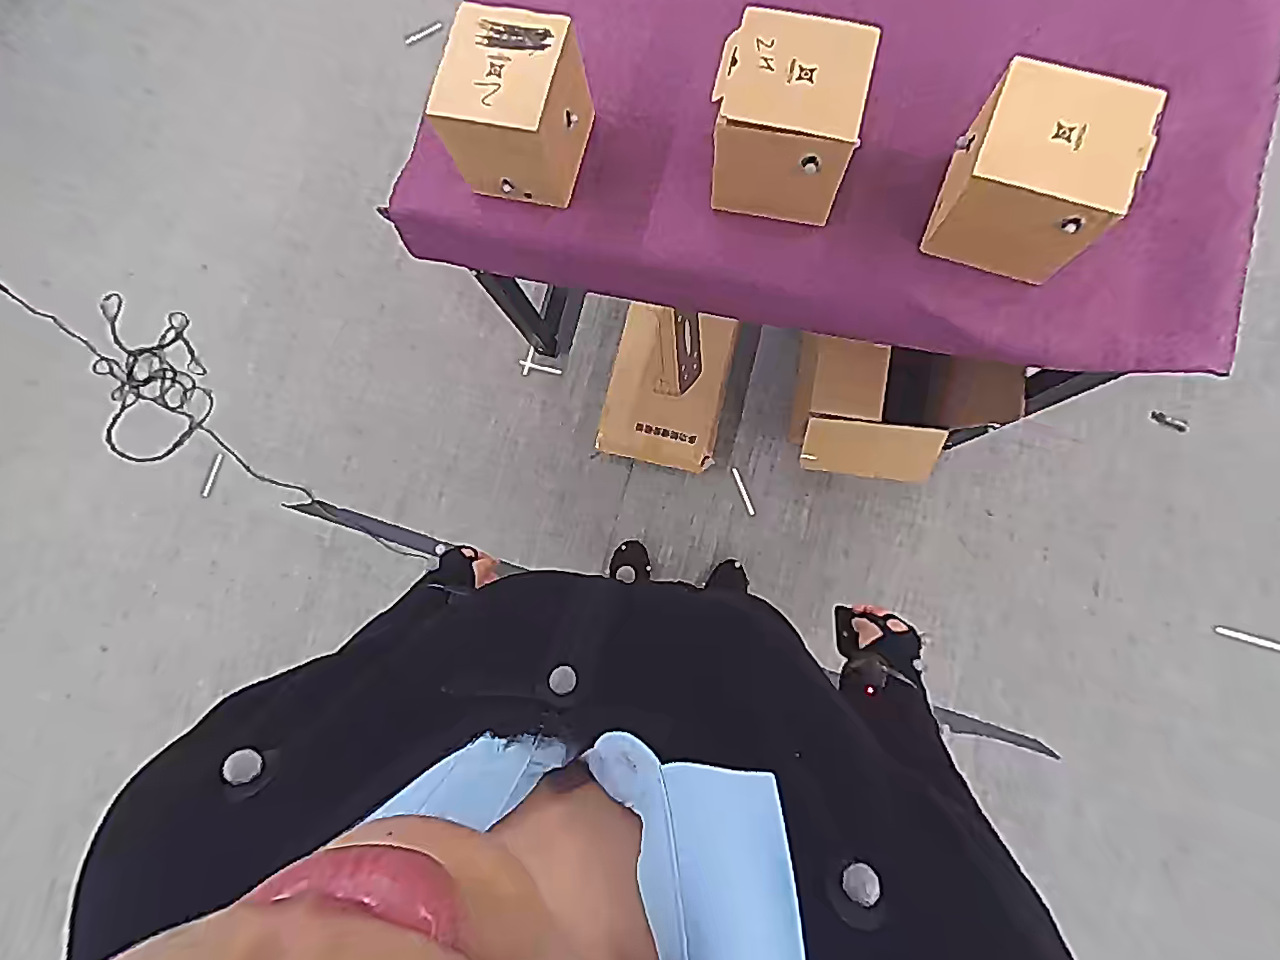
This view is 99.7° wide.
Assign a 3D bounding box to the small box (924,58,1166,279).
[{"bbox_3d":[0.507,-0.391,0.707,0.179,0.176,0.168,21,85,8],"label":"small box"}]

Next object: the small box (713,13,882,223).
[{"bbox_3d":[0.207,-0.488,0.751,0.179,0.176,0.168,13,82,8],"label":"small box"}]
